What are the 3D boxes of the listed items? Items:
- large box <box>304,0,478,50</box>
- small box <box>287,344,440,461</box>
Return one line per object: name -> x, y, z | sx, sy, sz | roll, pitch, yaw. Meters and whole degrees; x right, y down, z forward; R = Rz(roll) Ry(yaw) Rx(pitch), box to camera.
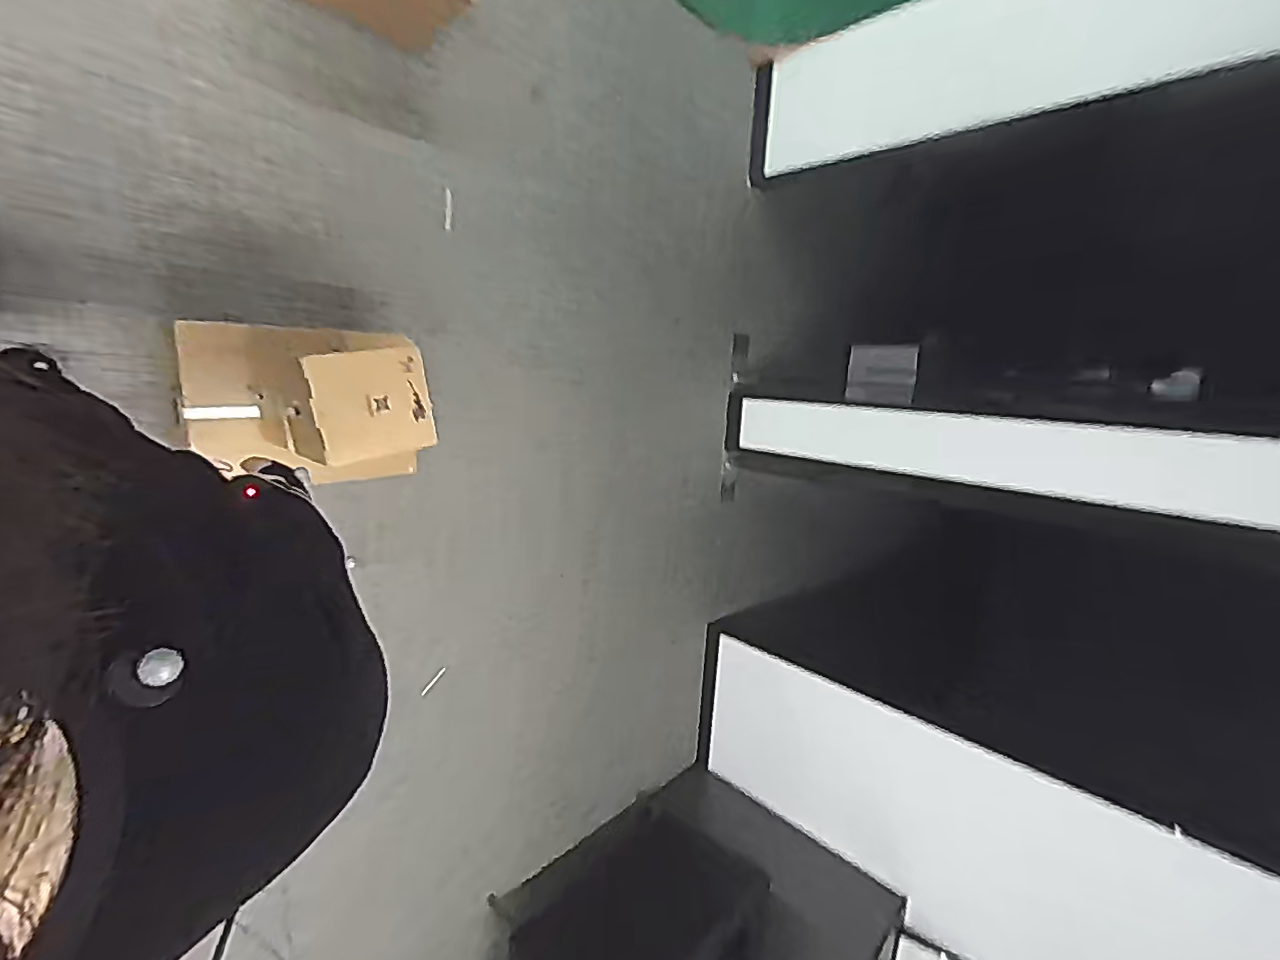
large box -> -0.586, -1.184, 1.100 | 0.408, 0.320, 0.320 | -9, 106, -46
small box -> -0.464, -0.135, 0.901 | 0.179, 0.176, 0.168 | -19, 112, -41
